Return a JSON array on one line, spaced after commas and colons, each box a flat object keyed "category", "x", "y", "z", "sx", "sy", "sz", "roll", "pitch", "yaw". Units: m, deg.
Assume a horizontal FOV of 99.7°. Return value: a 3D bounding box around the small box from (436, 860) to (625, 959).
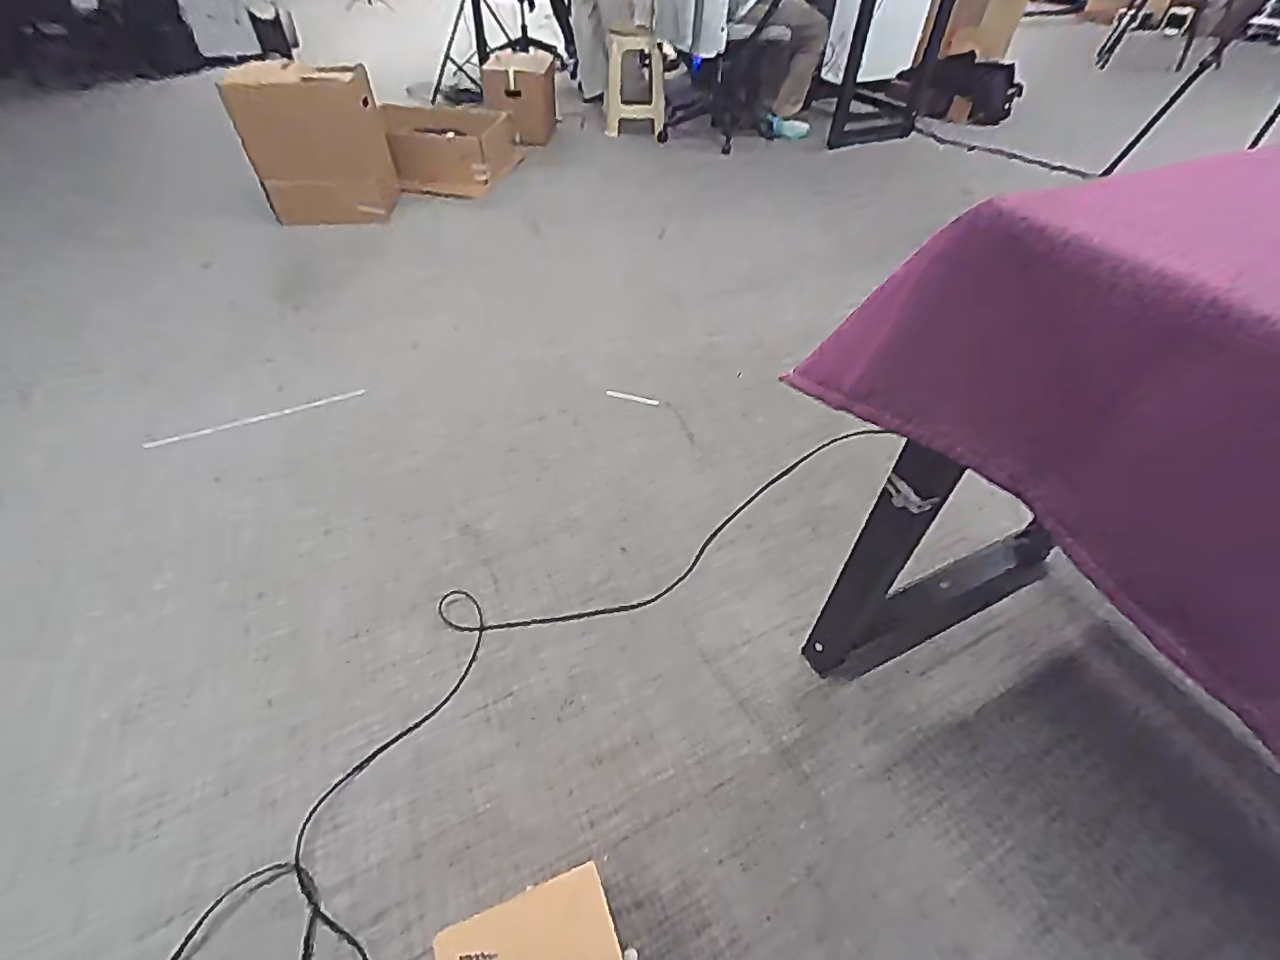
[{"category": "small box", "x": -0.103, "y": 0.552, "z": 0.583, "sx": 0.179, "sy": 0.176, "sz": 0.168, "roll": -15, "pitch": 49, "yaw": -17}]
